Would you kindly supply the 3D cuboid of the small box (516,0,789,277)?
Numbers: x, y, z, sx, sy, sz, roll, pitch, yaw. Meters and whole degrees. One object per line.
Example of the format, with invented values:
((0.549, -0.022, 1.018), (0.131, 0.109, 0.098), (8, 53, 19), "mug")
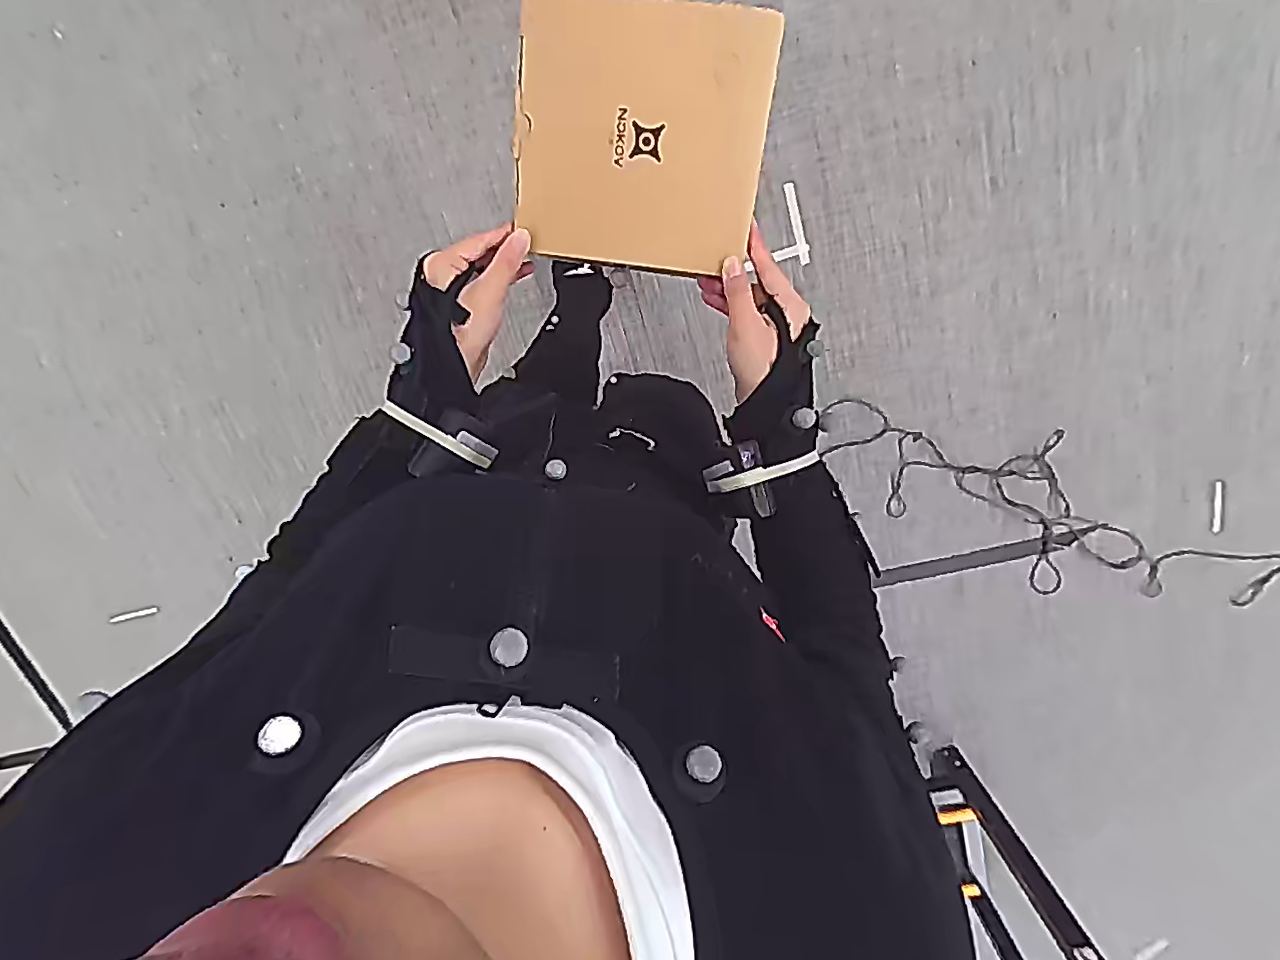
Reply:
((0.004, -0.269, 0.453), (0.179, 0.176, 0.168), (7, 110, -1), "small box")
